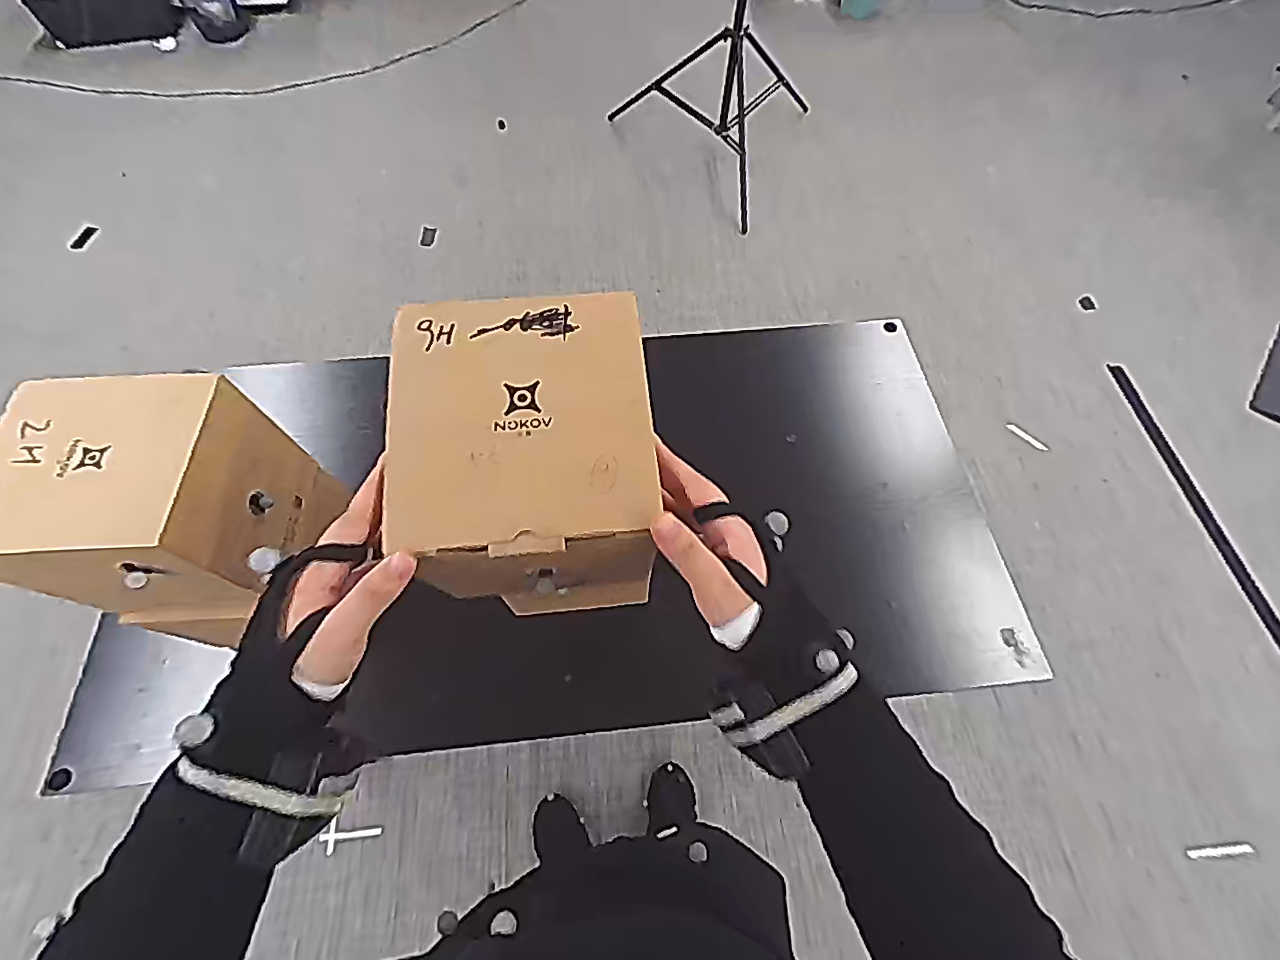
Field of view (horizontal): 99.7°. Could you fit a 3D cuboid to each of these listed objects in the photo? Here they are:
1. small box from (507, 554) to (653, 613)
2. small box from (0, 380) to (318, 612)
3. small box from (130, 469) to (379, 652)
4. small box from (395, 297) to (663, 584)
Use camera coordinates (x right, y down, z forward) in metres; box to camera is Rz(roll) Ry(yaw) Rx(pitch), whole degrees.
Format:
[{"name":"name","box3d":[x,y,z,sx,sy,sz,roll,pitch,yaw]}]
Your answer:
[{"name":"small box","box3d":[-0.079,0.062,0.678,0.179,0.176,0.168,-5,64,-4]},{"name":"small box","box3d":[-0.444,0.023,0.511,0.179,0.176,0.168,-3,63,-1]},{"name":"small box","box3d":[-0.440,0.103,0.656,0.168,0.176,0.179,-3,64,-1]},{"name":"small box","box3d":[-0.075,-0.016,0.425,0.168,0.176,0.179,-5,73,-4]}]
